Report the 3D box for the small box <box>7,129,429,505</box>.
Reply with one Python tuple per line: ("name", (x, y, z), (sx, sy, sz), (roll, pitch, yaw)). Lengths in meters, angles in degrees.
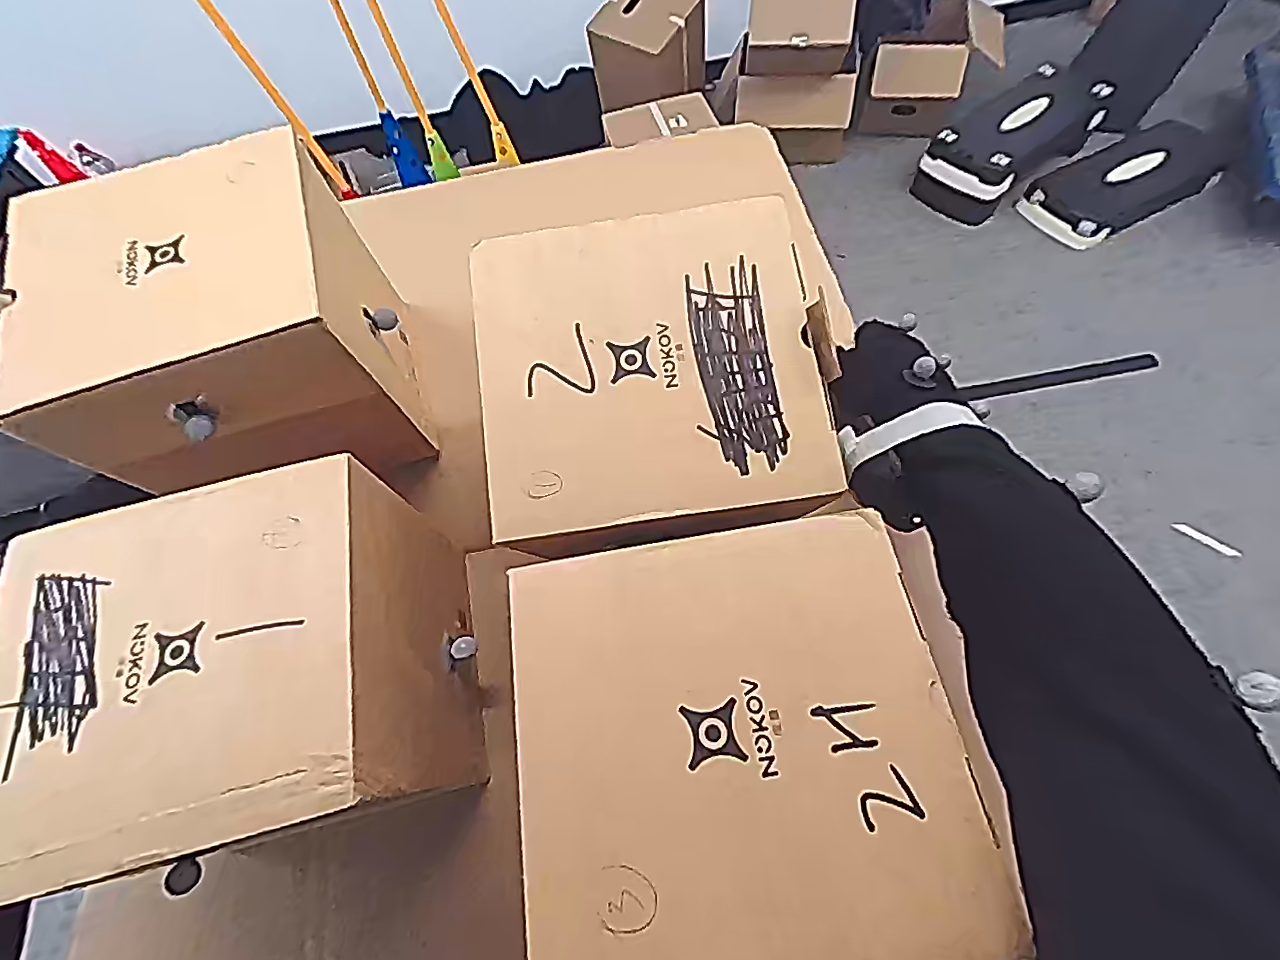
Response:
("small box", (-0.274, -0.103, 0.395), (0.179, 0.176, 0.168), (-20, 68, -3))
